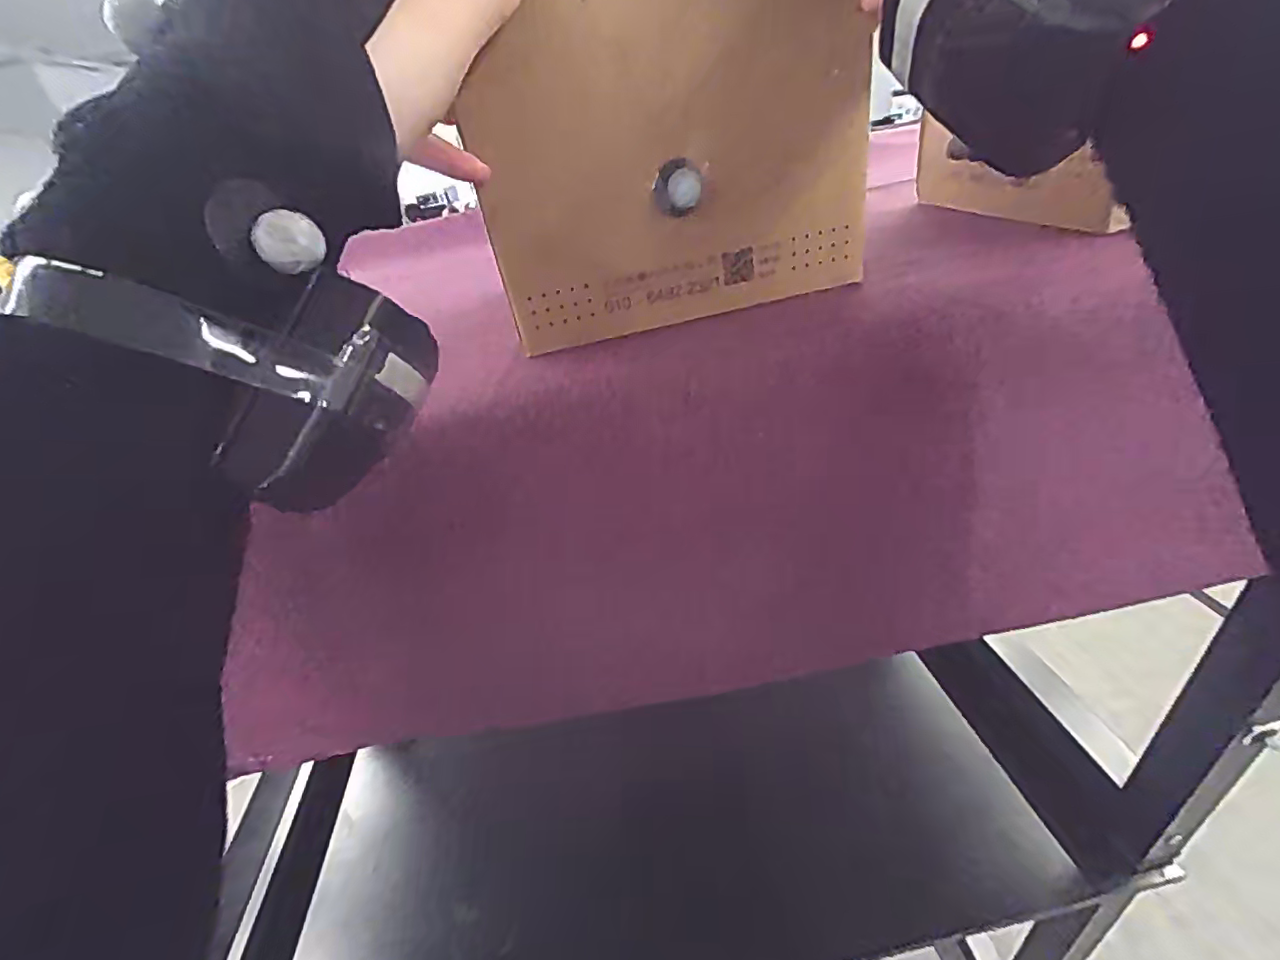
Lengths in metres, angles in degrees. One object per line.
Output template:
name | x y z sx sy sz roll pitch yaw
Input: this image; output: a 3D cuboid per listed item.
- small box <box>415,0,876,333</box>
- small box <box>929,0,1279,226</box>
small box | -0.004 -0.186 0.268 0.168 0.176 0.179 -14 32 -3
small box | 0.272 -0.240 0.265 0.179 0.176 0.168 -13 32 0
